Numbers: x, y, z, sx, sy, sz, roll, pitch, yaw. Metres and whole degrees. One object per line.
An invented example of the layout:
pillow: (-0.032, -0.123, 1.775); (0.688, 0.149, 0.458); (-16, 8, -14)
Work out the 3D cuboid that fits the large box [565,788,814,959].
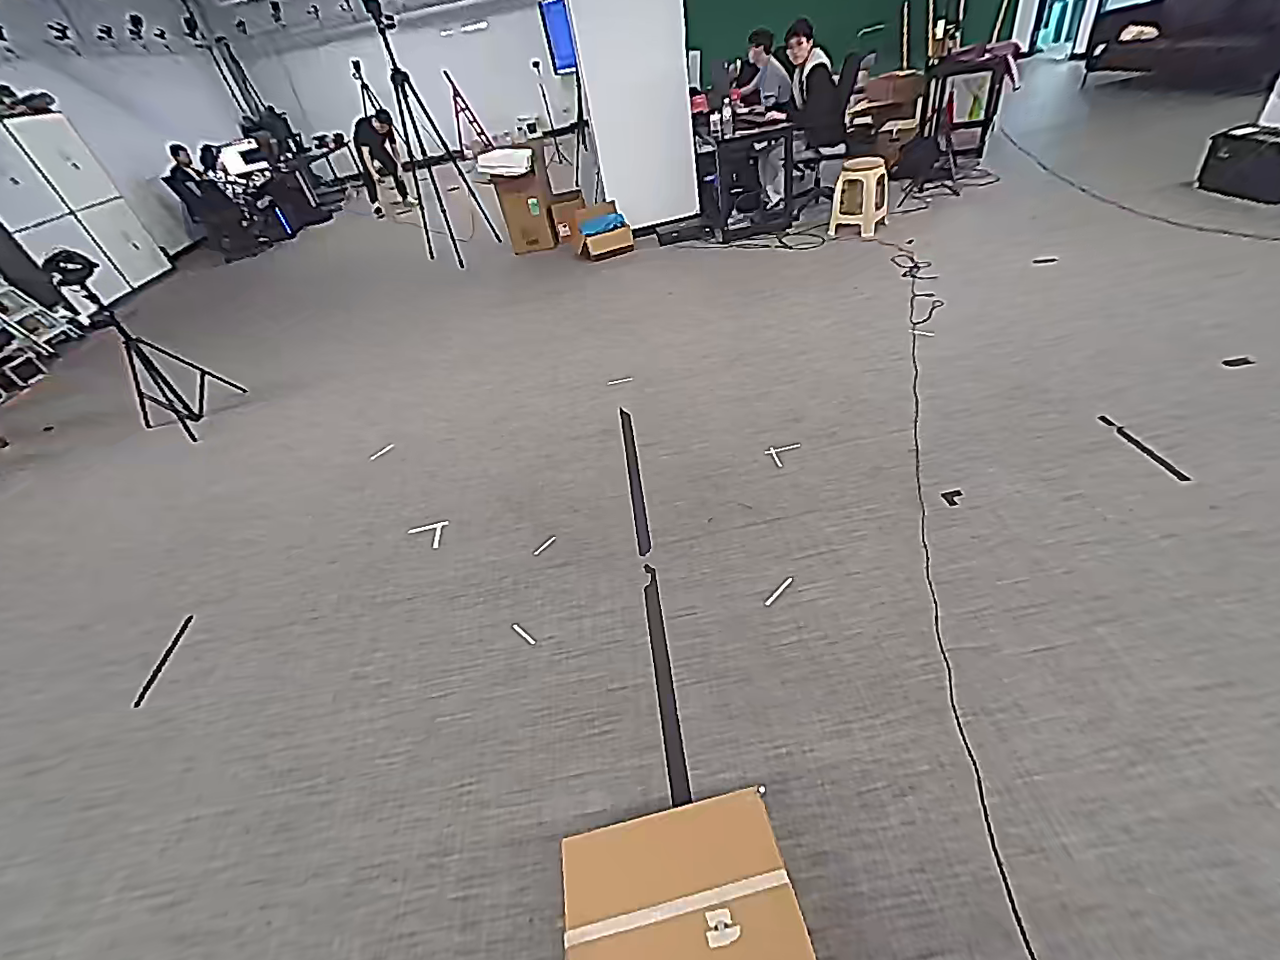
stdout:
large box: (0.094, 0.876, 1.058); (0.408, 0.320, 0.320); (-14, 39, -2)
